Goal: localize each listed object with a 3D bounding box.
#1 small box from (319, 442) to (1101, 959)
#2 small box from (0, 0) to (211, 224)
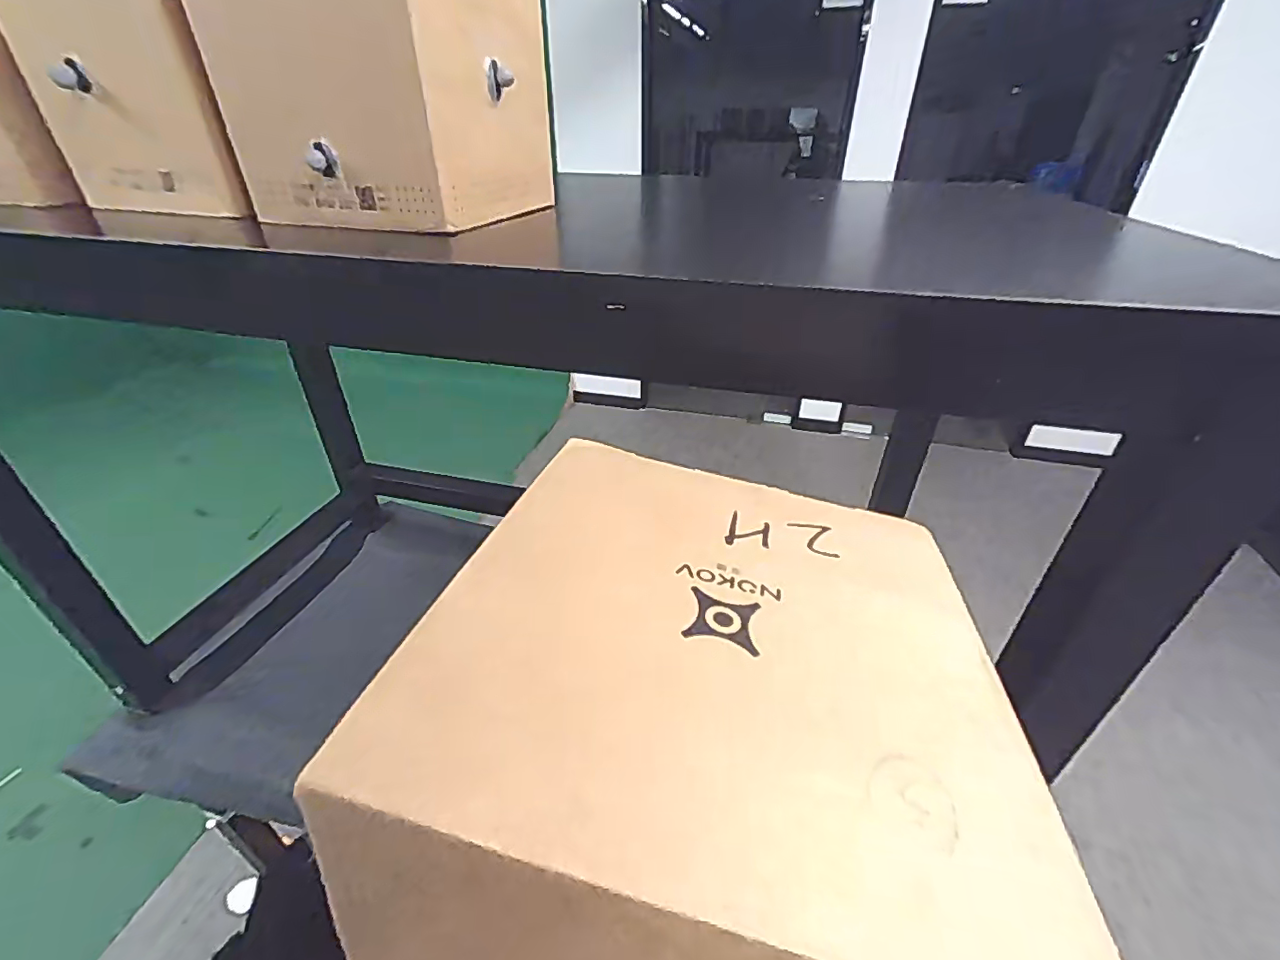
[{"bbox_3d":[0.017,0.111,0.216,0.168,0.176,0.179,15,31,6],"label":"small box"},{"bbox_3d":[-0.555,-0.349,0.507,0.168,0.176,0.179,9,35,13],"label":"small box"}]
